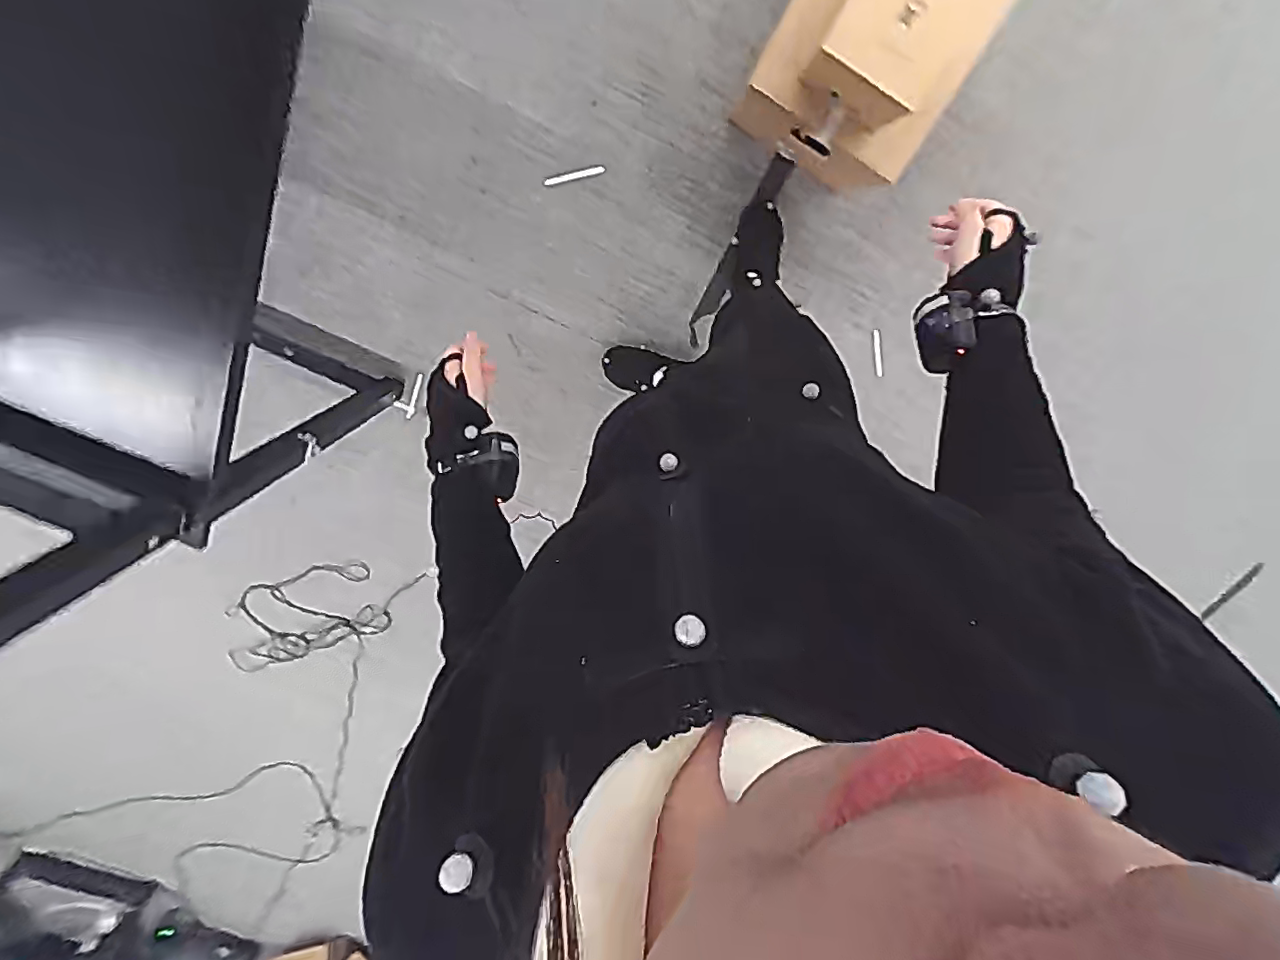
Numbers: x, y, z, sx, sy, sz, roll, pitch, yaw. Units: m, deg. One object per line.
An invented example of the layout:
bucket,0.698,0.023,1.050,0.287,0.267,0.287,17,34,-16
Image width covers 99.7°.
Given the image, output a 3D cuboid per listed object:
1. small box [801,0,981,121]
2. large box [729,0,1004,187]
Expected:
small box,0.362,-0.671,0.794,0.168,0.176,0.179,28,113,-9
large box,0.407,-0.824,0.992,0.320,0.320,0.408,27,112,-11
